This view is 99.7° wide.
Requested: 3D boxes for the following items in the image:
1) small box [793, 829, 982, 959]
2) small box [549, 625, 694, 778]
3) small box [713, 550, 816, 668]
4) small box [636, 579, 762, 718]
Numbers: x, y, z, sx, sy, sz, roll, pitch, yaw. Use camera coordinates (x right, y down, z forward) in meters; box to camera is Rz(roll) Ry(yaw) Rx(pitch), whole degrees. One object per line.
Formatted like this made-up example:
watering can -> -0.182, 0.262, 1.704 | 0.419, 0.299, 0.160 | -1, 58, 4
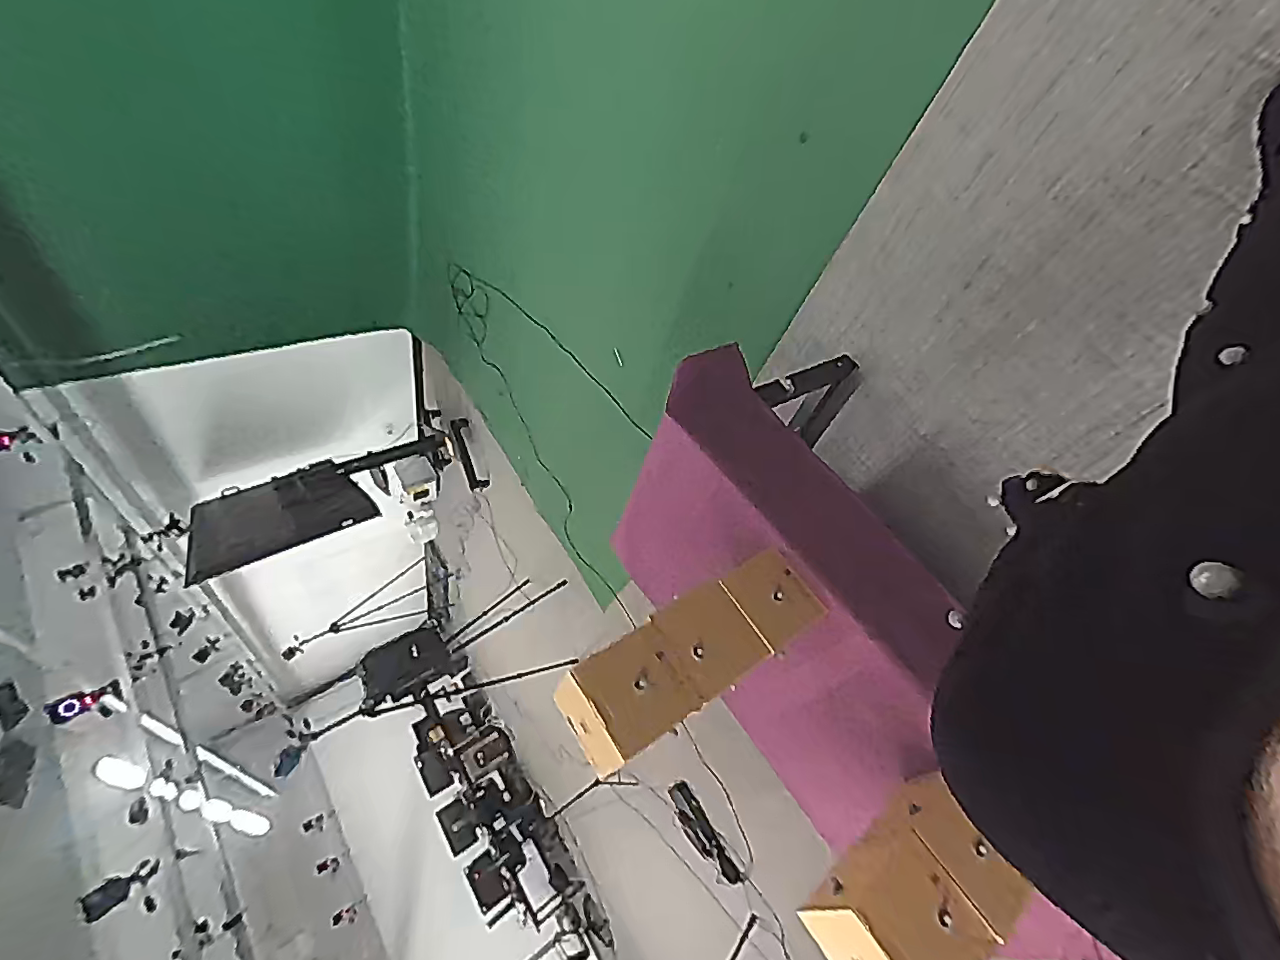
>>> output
small box -> 0.382, 0.684, 0.842 | 0.168, 0.176, 0.179 | 51, 143, 23
small box -> -0.031, 0.380, 0.941 | 0.168, 0.176, 0.179 | 53, 144, 20
small box -> 0.230, 0.271, 1.110 | 0.168, 0.176, 0.179 | 53, 145, 21
small box -> 0.097, 0.320, 1.025 | 0.179, 0.176, 0.168 | 54, 144, 20
